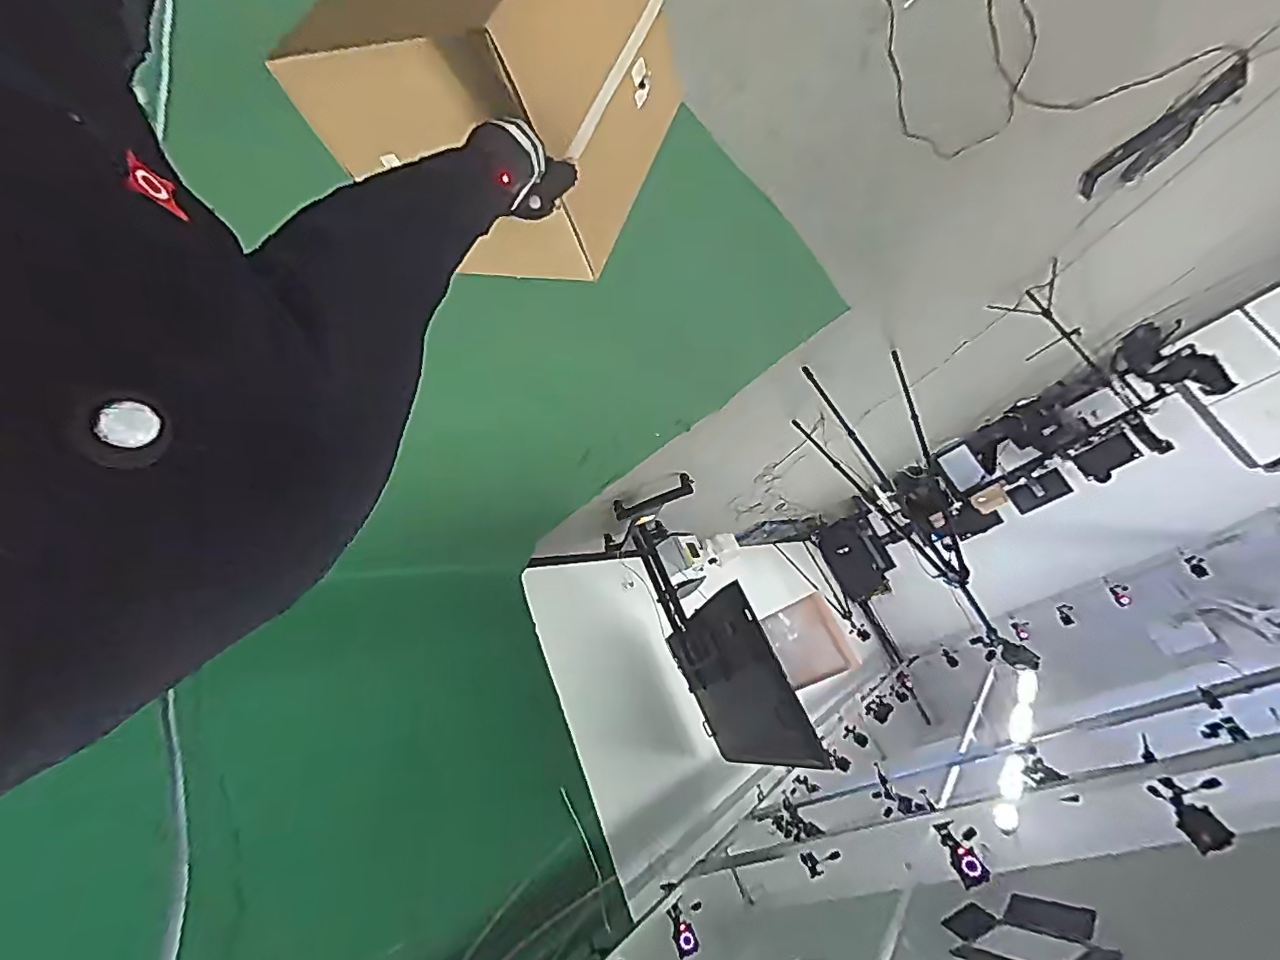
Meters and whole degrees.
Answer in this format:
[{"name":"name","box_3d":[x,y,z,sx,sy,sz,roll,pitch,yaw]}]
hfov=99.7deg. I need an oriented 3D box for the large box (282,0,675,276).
[{"name":"large box","box_3d":[-0.181,-0.548,0.756,0.320,0.408,0.320,11,158,21]}]
